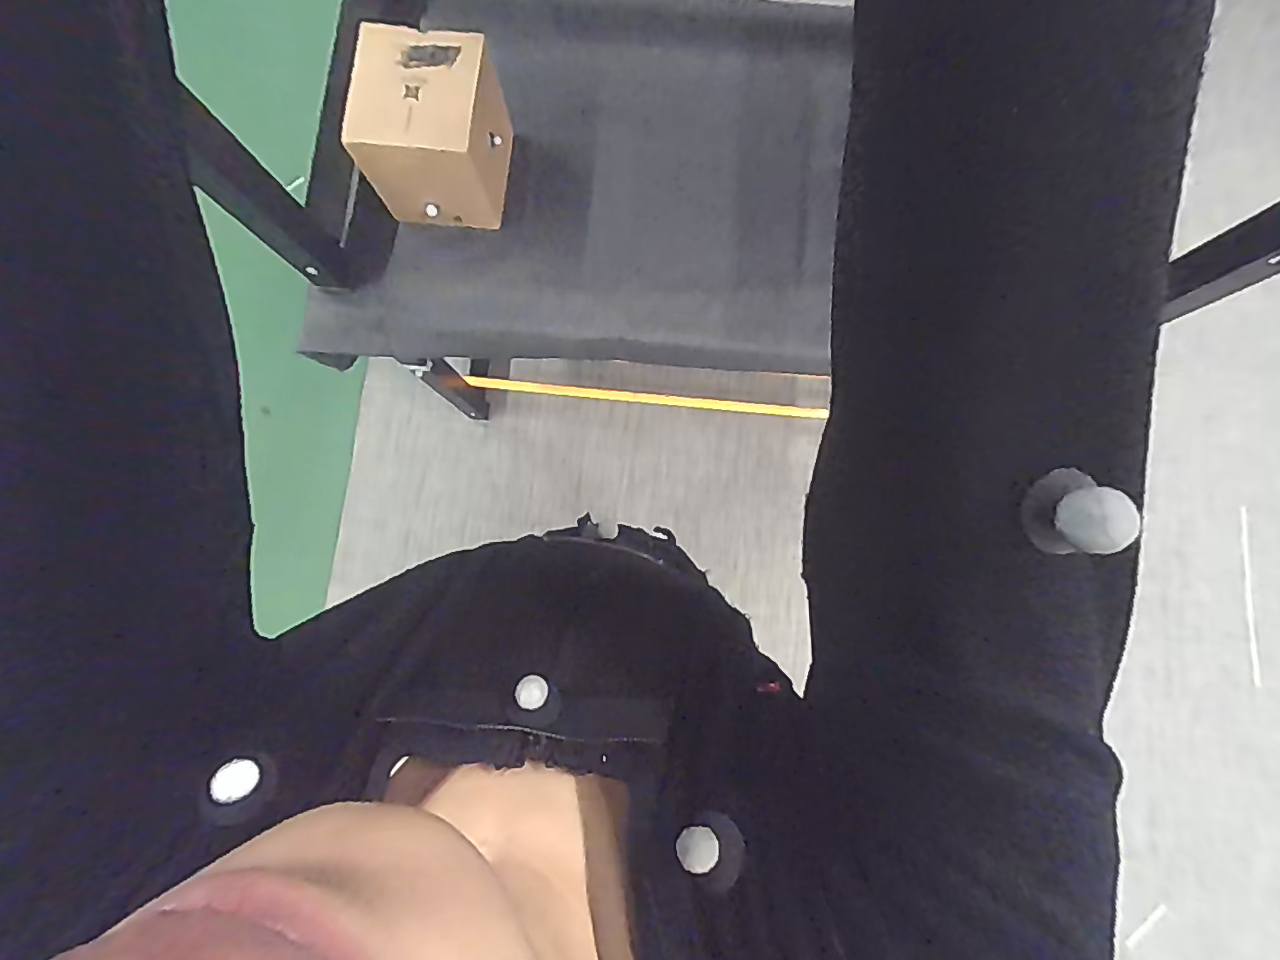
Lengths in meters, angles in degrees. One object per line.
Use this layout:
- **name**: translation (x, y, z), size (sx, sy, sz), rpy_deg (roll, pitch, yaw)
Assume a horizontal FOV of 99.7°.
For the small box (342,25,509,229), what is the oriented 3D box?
- **small box**: translation (-0.294, -0.498, 0.782), size (0.168, 0.176, 0.179), rpy_deg (5, 82, 0)
